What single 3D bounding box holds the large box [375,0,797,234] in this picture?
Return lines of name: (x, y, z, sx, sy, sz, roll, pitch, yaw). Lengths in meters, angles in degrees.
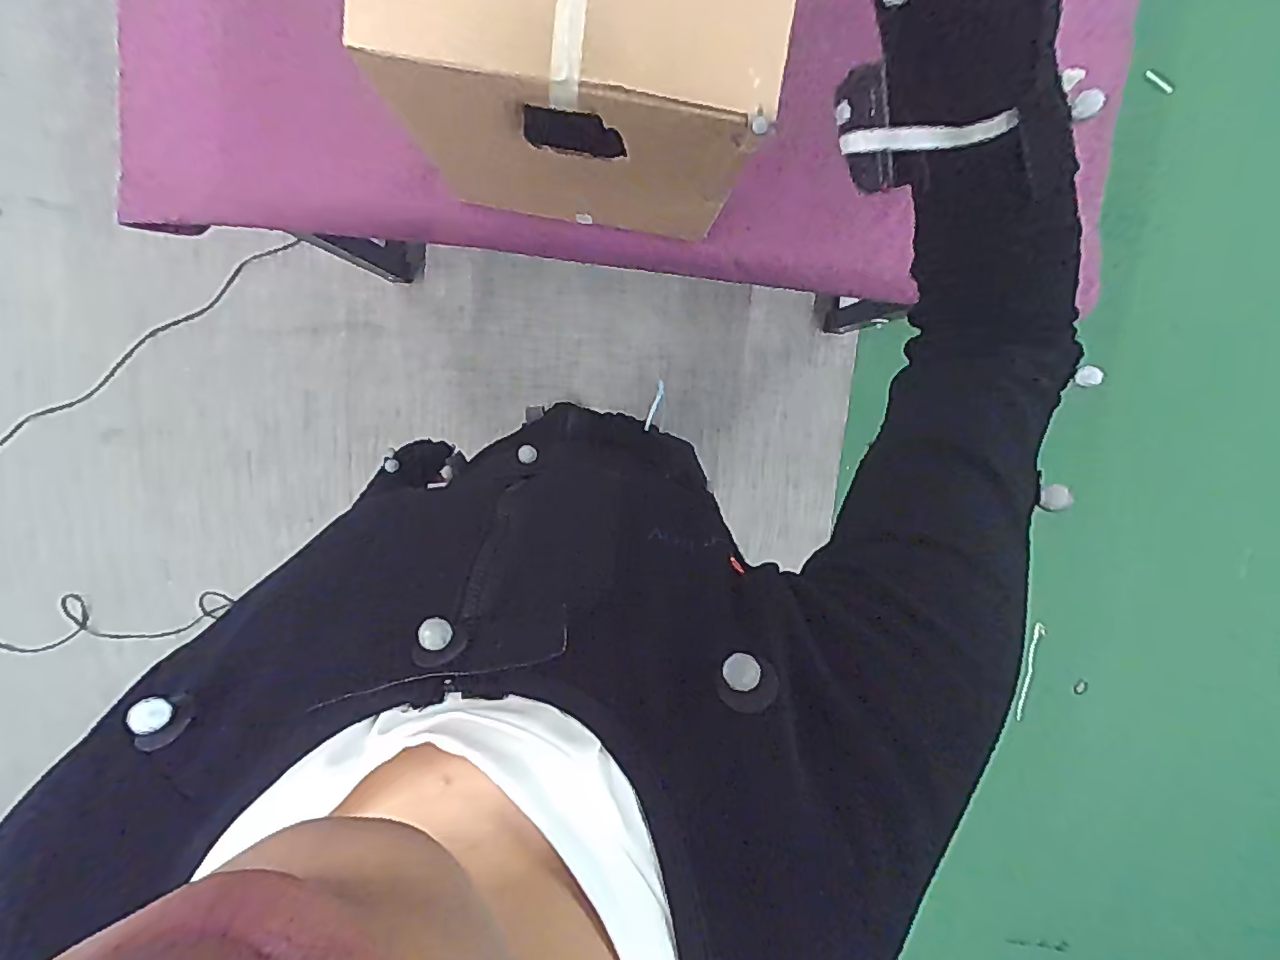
large box: (-0.027, -0.510, 0.523, 0.320, 0.320, 0.408, 8, 99, -4)
